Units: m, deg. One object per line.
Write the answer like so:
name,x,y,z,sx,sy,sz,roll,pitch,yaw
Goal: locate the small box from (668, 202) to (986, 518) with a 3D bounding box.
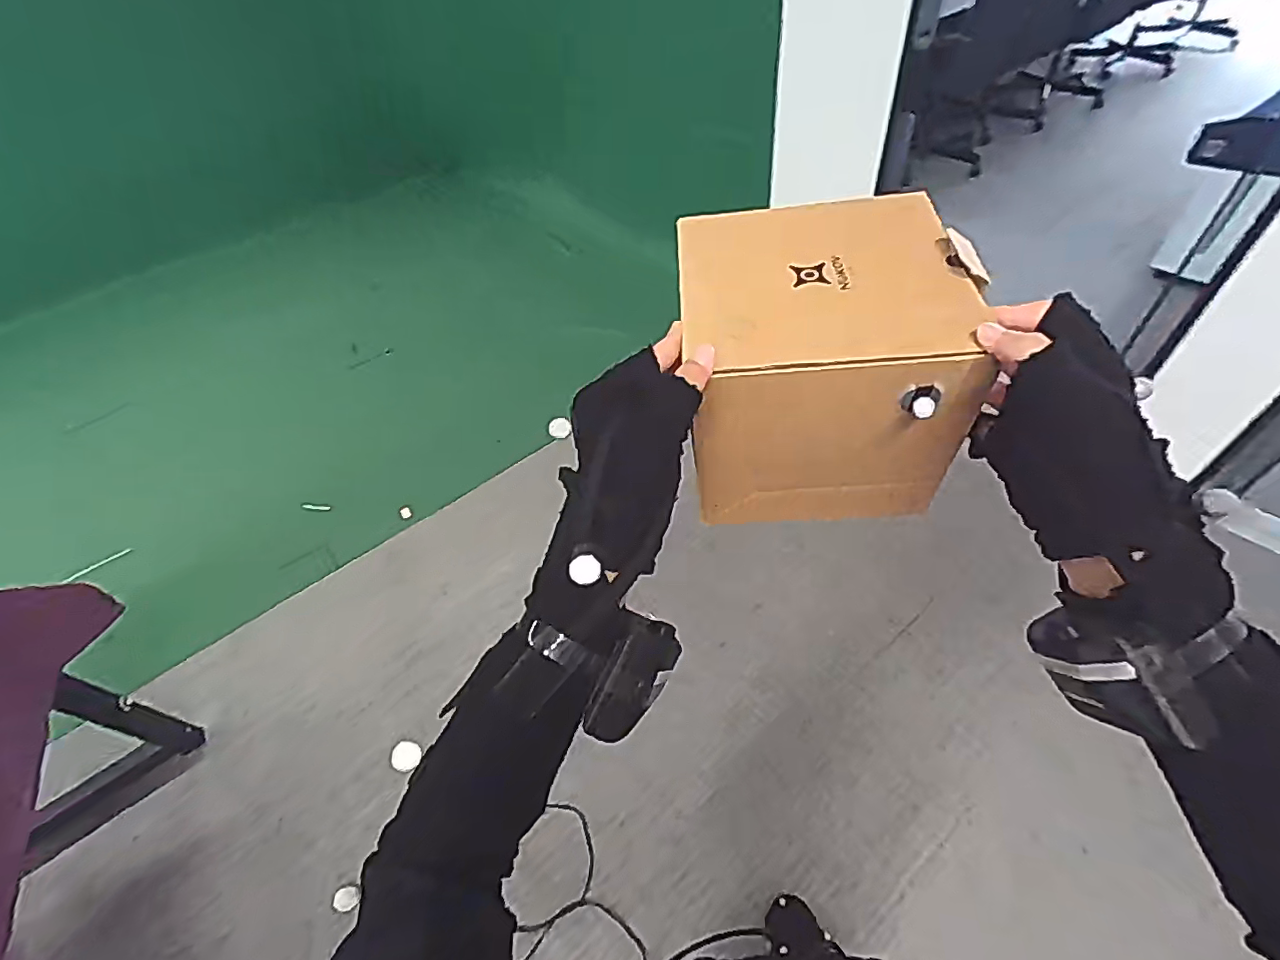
small box,0.117,-0.082,0.415,0.179,0.176,0.168,-3,54,6
